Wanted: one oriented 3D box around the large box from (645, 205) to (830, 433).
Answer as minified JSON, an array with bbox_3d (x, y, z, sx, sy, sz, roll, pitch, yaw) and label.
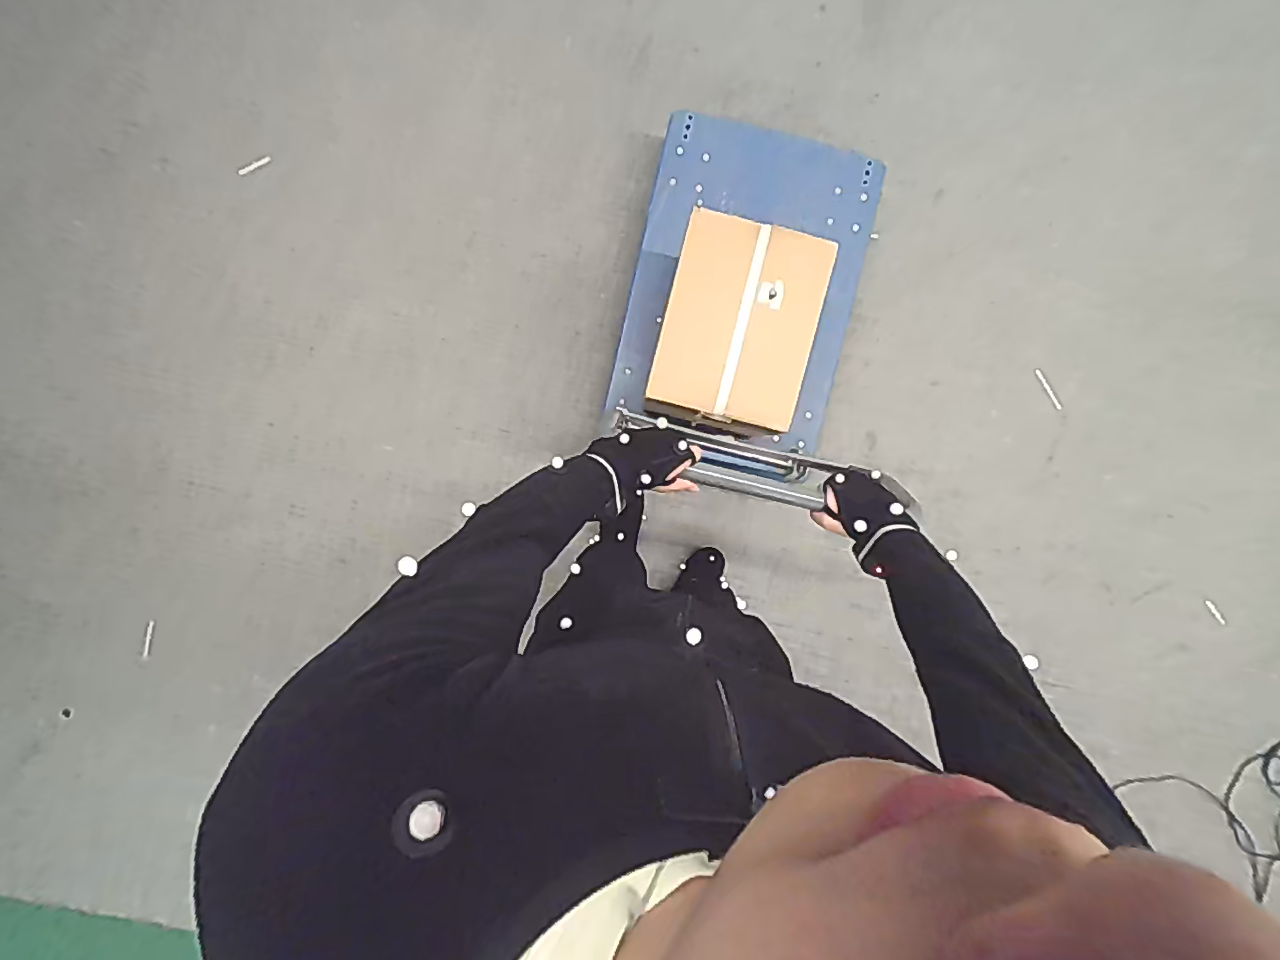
[{"bbox_3d":[0.202,-0.343,1.266,0.320,0.320,0.408,14,92,-2],"label":"large box"}]
